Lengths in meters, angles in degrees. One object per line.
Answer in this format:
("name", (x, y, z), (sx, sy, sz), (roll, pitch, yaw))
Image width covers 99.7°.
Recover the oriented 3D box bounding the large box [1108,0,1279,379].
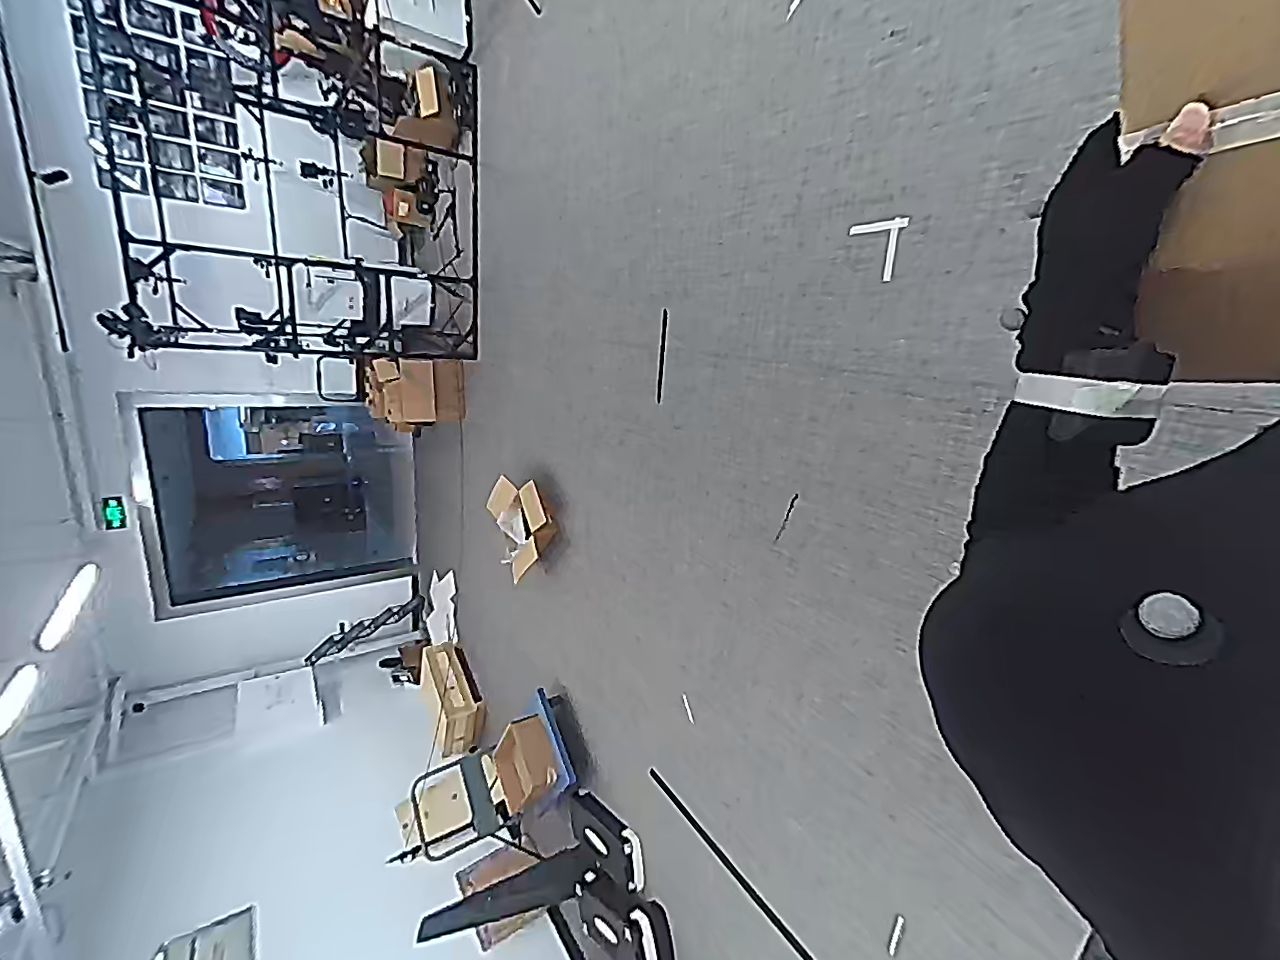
("large box", (0.513, -0.259, 0.233), (0.408, 0.320, 0.320), (14, 138, 54))
